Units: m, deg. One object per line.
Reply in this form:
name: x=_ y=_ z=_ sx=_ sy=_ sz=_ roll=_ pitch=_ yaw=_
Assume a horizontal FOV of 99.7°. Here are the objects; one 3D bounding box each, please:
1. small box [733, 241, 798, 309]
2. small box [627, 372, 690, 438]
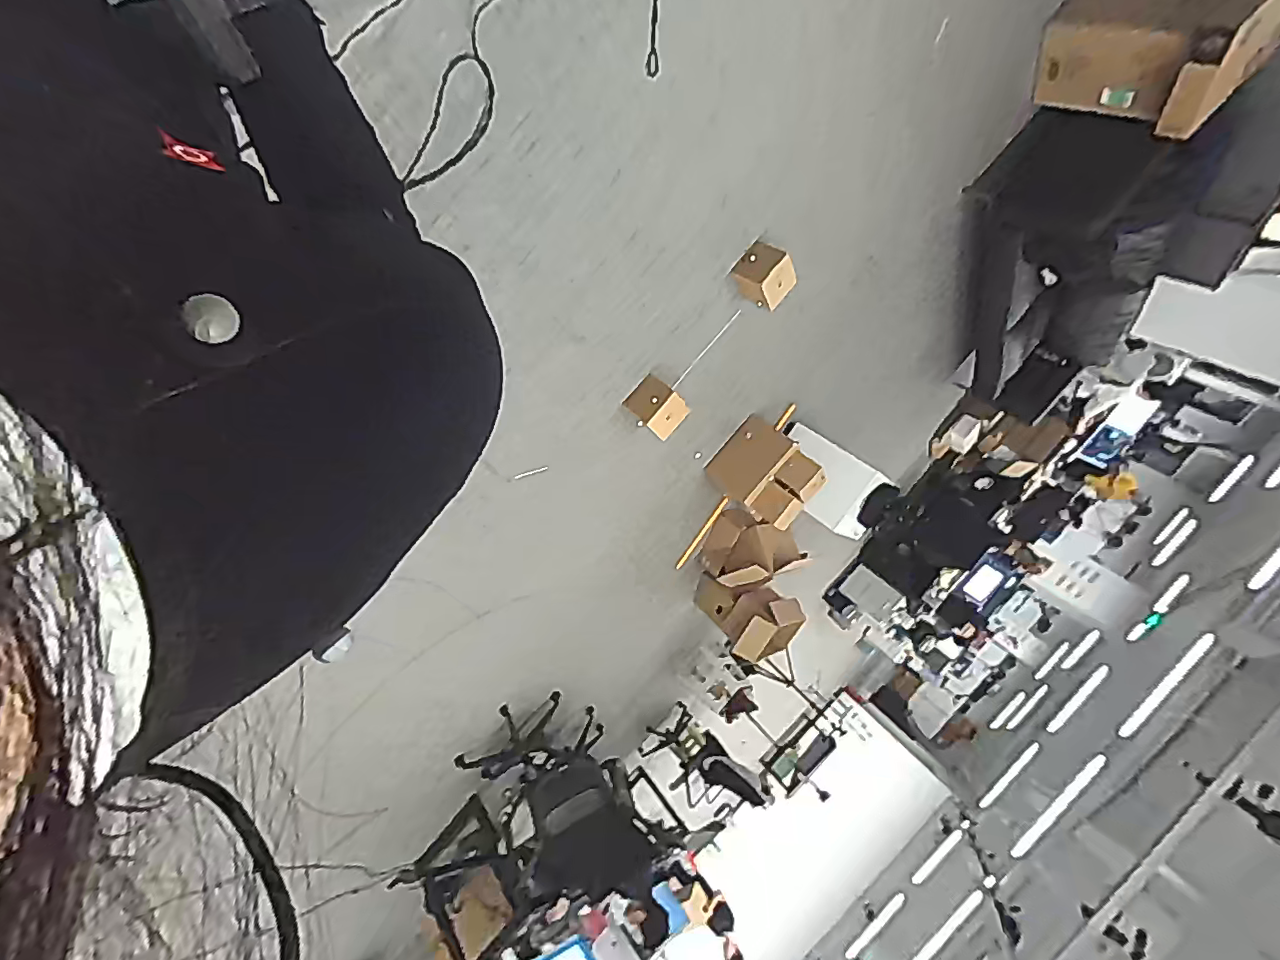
small box: x=0.508 y=-0.835 z=2.191 sx=0.168 sy=0.176 sz=0.179 roll=-49 pitch=146 yaw=2
small box: x=0.068 y=-0.311 z=2.226 sx=0.179 sy=0.176 sz=0.168 roll=-50 pitch=145 yaw=2
